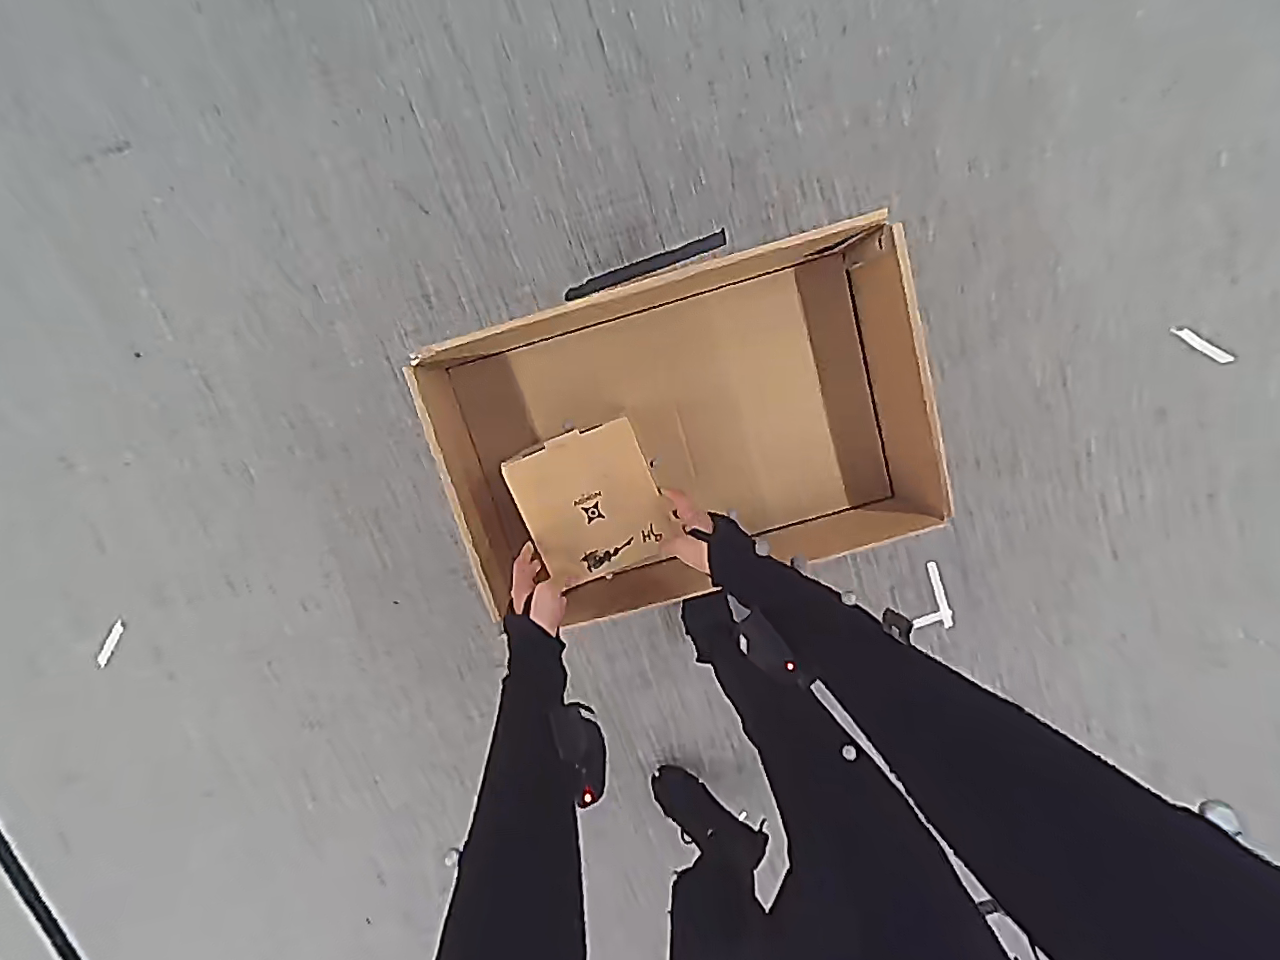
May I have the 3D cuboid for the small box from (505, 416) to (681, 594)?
[{"bbox_3d":[-0.057,0.021,0.726,0.168,0.176,0.179,-22,100,3],"label":"small box"}]
